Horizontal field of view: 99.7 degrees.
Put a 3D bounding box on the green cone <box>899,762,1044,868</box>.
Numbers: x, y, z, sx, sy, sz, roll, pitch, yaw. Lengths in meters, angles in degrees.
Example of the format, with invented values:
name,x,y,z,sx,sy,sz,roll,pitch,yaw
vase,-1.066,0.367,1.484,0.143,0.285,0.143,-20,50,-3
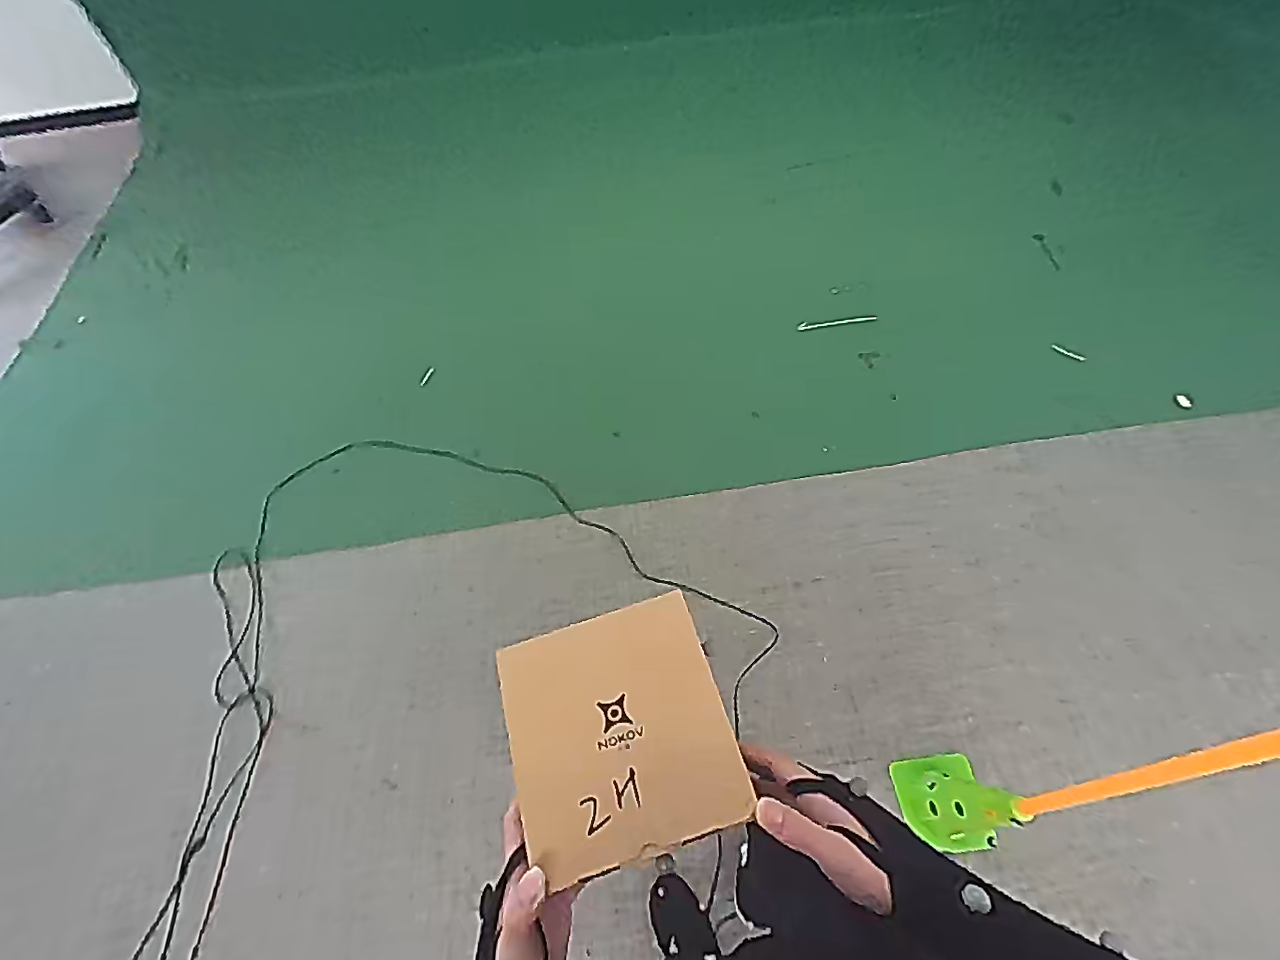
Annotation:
name,x,y,z,sx,sy,sz,roll,pitch,yaw
green cone,0.725,0.695,1.127,0.202,0.368,0.200,-8,58,0
